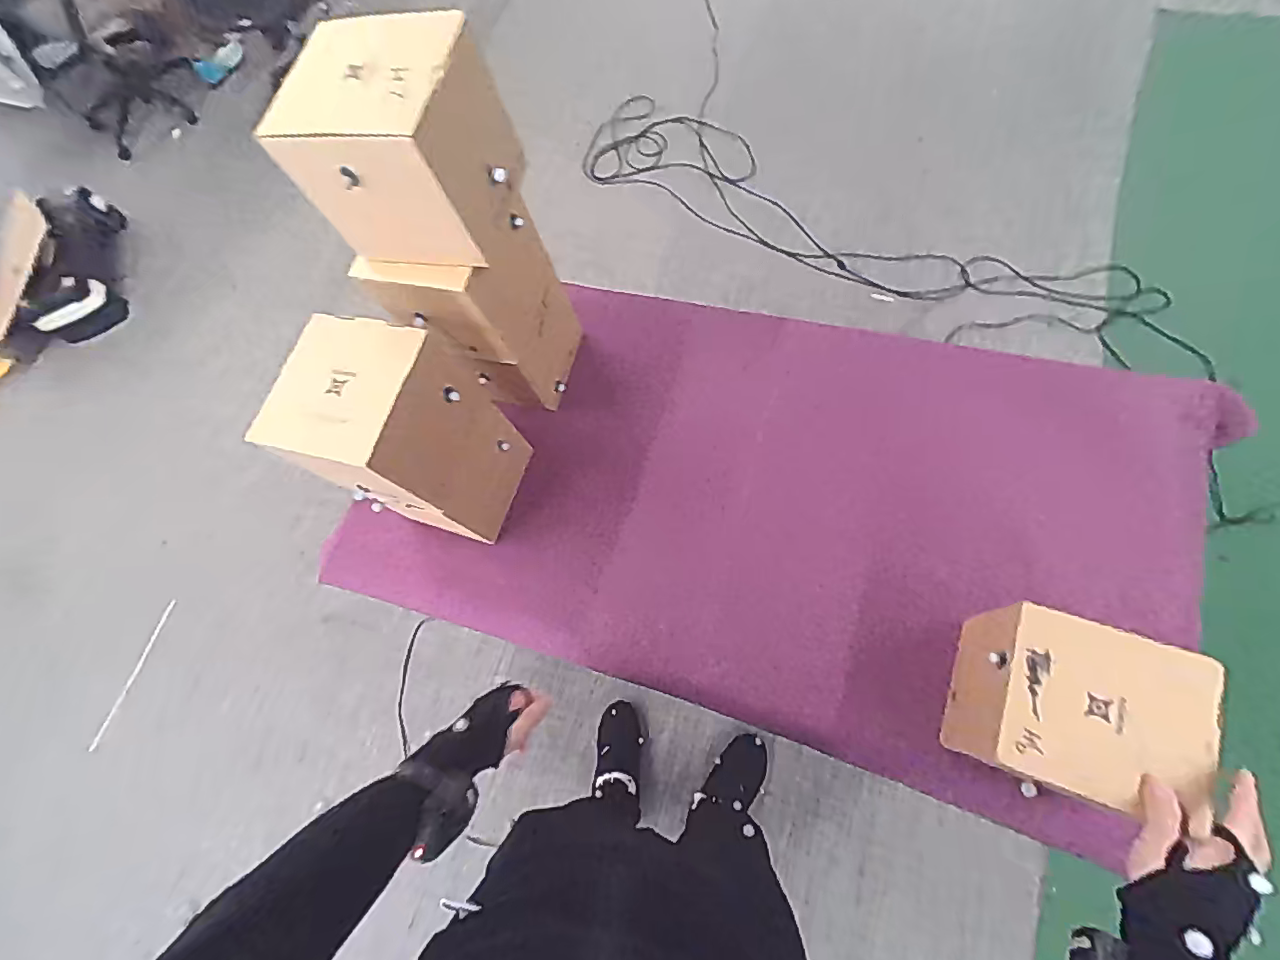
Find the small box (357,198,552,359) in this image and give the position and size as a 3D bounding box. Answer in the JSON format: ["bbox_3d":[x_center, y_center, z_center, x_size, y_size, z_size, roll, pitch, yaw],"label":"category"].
[{"bbox_3d":[-0.238,-0.290,0.746,0.168,0.176,0.179,12,73,14],"label":"small box"}]

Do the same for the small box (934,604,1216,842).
[{"bbox_3d":[0.461,0.253,0.600,0.179,0.176,0.168,19,74,16],"label":"small box"}]

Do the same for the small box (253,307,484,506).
[{"bbox_3d":[-0.322,-0.086,0.686,0.168,0.176,0.179,13,73,14],"label":"small box"}]

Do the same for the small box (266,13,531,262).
[{"bbox_3d":[-0.247,-0.365,0.598,0.179,0.176,0.168,9,72,13],"label":"small box"}]
